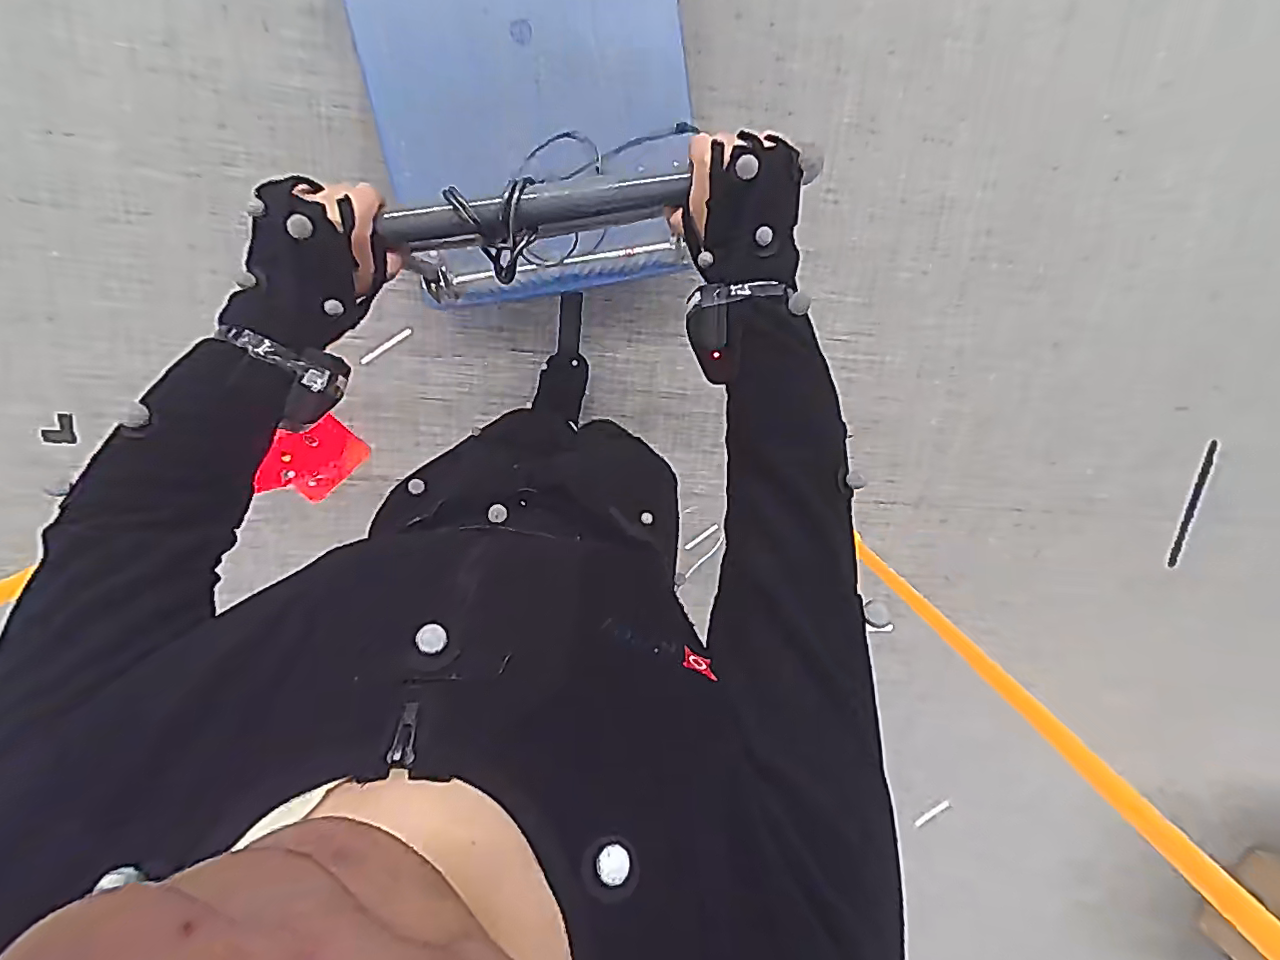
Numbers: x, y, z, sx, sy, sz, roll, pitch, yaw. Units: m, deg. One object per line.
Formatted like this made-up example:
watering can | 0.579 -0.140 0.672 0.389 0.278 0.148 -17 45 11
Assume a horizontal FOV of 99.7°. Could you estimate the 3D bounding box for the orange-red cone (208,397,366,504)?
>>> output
orange-red cone | -0.755 -0.024 1.107 0.199 0.360 0.198 -40 107 4
